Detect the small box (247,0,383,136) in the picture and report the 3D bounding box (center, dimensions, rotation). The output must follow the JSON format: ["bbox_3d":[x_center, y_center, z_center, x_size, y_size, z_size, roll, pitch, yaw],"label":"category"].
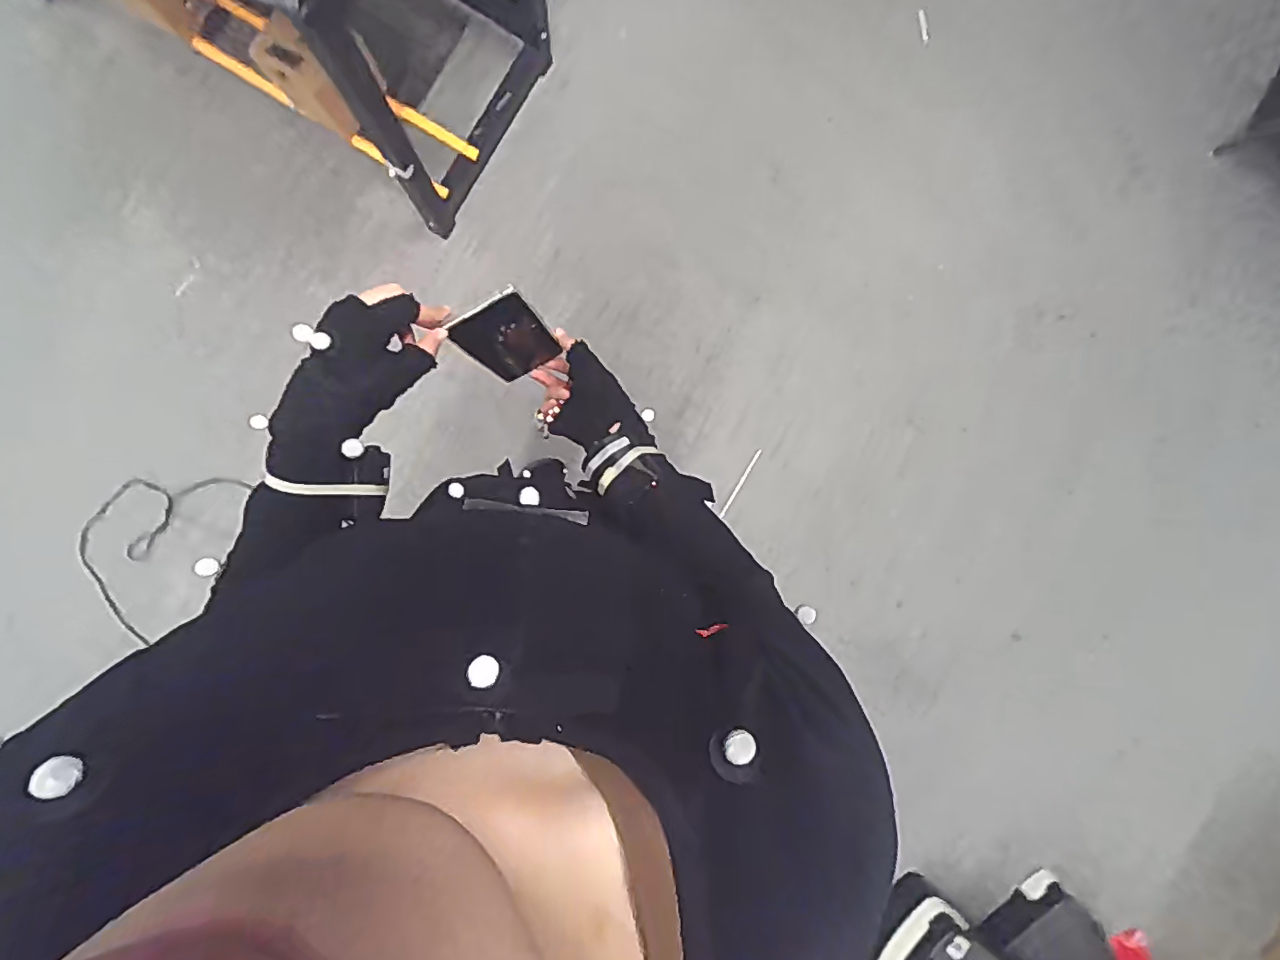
[{"bbox_3d":[-0.723,-0.938,1.228,0.168,0.176,0.179,34,88,-5],"label":"small box"}]
